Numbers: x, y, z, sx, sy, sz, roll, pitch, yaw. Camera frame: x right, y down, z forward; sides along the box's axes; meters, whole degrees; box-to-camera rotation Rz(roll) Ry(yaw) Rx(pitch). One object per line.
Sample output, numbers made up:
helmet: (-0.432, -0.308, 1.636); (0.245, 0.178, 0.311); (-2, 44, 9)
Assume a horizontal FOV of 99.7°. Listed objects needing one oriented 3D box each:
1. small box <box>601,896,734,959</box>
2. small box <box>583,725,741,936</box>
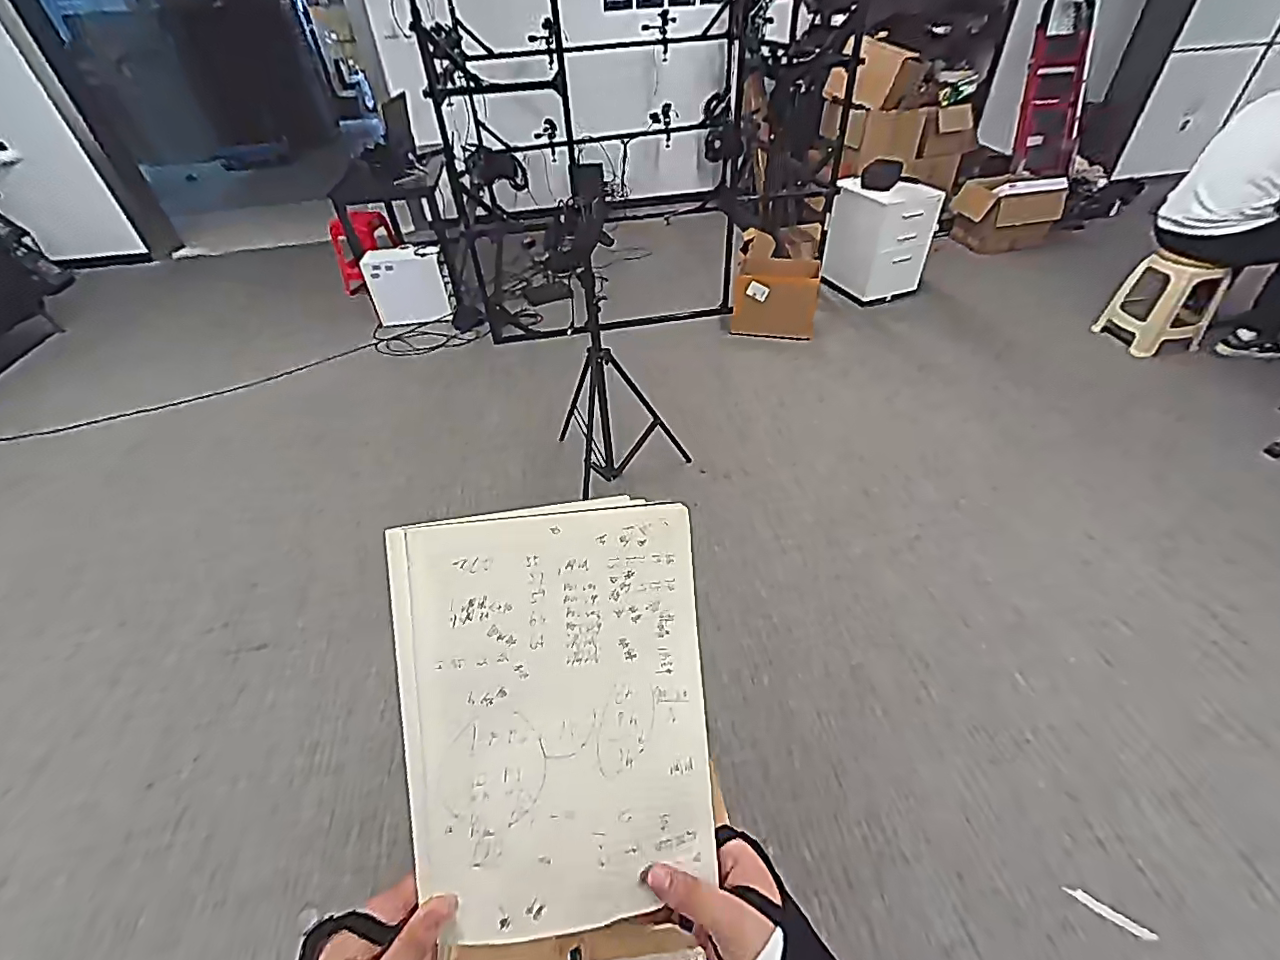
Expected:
small box: (0.024, 0.577, 0.804); (0.179, 0.176, 0.168); (-10, 43, -8)
small box: (0.018, 0.451, 0.699); (0.168, 0.176, 0.179); (-7, 43, -7)
